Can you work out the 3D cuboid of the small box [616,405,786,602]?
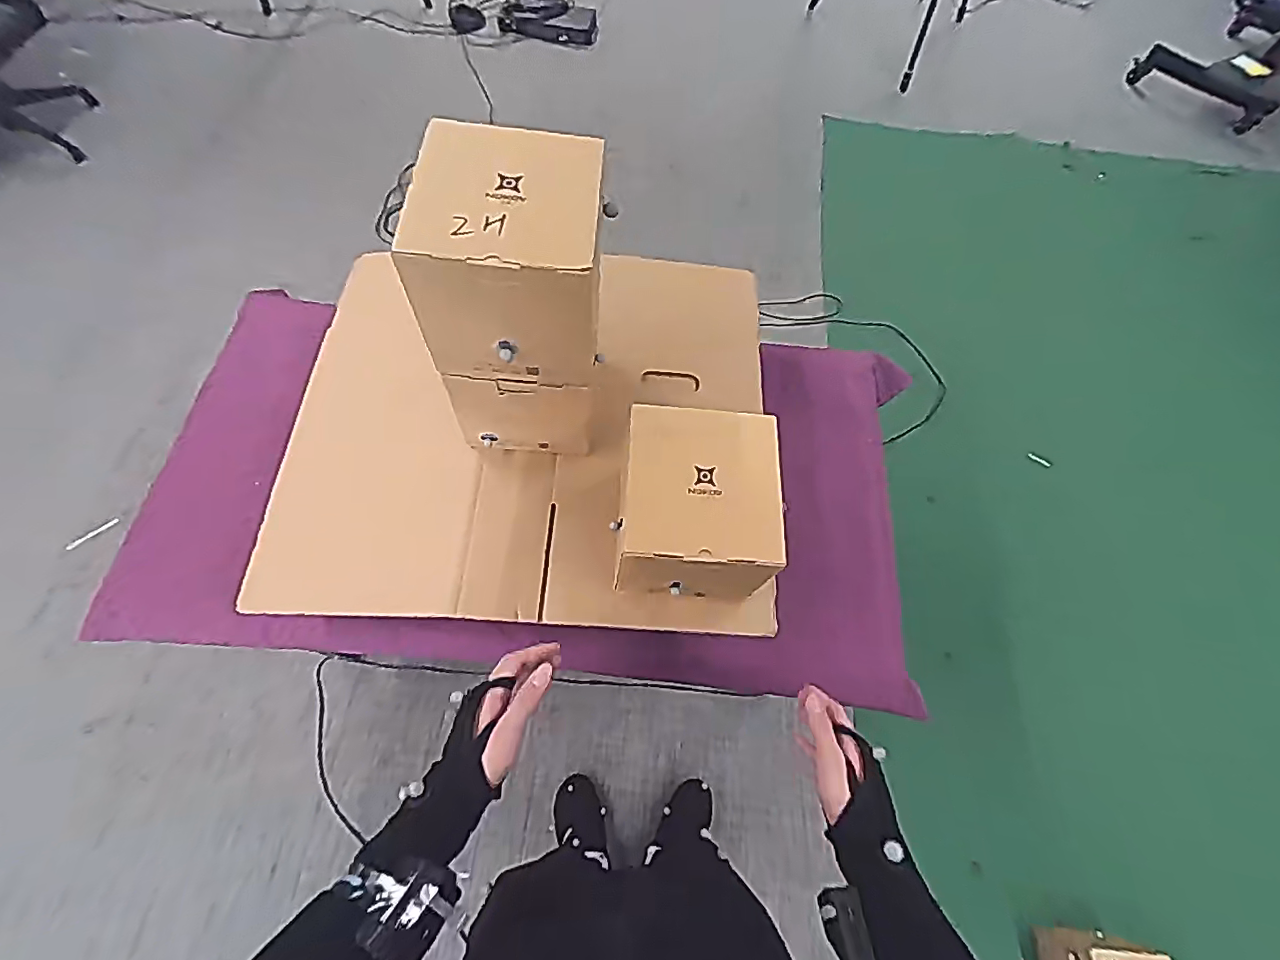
[{"bbox_3d":[0.061,0.035,0.635,0.168,0.176,0.179,4,66,-4],"label":"small box"}]

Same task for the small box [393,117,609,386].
[{"bbox_3d":[-0.124,-0.221,0.549,0.168,0.176,0.179,5,66,-4],"label":"small box"}]

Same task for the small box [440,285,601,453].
[{"bbox_3d":[-0.140,-0.150,0.696,0.168,0.176,0.179,5,64,-5],"label":"small box"}]
